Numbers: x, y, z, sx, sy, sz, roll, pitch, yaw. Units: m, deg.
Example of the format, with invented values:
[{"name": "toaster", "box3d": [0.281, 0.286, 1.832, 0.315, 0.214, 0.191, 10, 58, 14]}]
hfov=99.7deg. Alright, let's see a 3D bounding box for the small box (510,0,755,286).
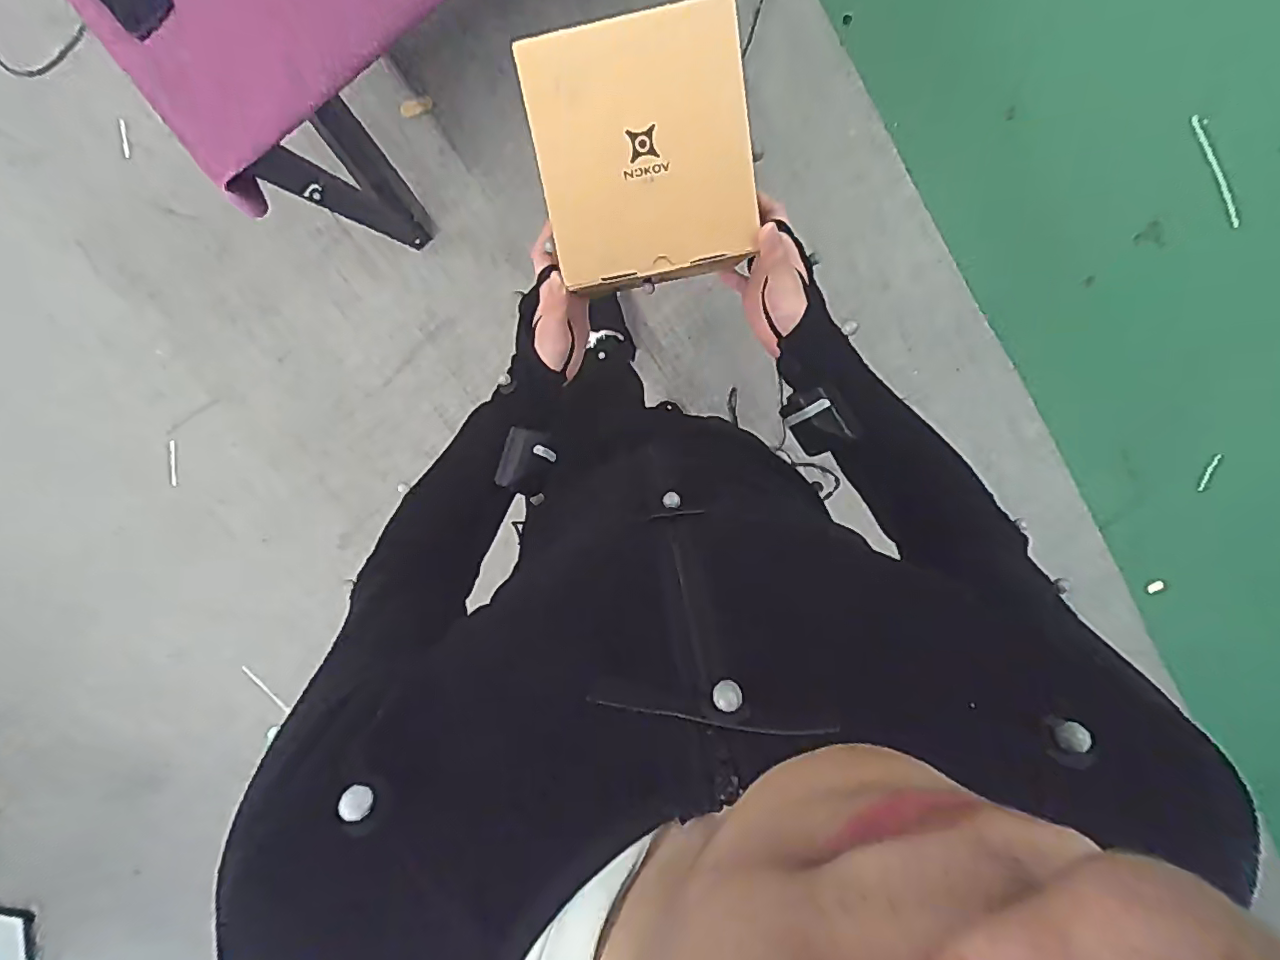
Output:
[{"name": "small box", "box3d": [-0.001, -0.282, 0.488, 0.168, 0.176, 0.179, -10, 108, 4]}]
